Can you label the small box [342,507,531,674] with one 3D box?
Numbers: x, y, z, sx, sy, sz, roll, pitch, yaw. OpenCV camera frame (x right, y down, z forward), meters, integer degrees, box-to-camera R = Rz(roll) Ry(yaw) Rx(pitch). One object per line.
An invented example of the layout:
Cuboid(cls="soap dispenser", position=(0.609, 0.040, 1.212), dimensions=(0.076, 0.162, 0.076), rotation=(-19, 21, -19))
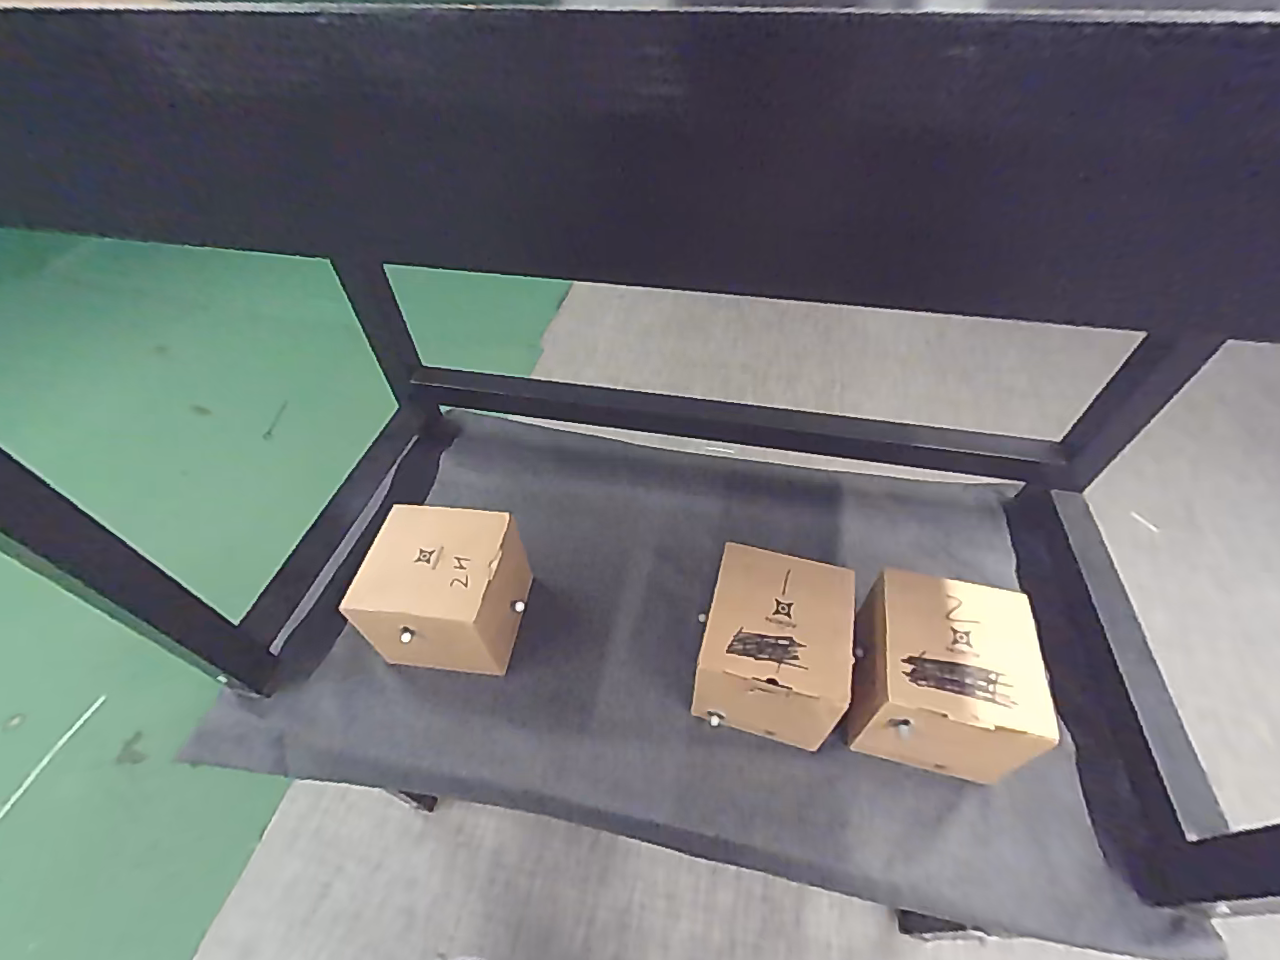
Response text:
Cuboid(cls="small box", position=(-0.270, 0.159, 0.765), dimensions=(0.179, 0.176, 0.168), rotation=(5, 49, 6))
